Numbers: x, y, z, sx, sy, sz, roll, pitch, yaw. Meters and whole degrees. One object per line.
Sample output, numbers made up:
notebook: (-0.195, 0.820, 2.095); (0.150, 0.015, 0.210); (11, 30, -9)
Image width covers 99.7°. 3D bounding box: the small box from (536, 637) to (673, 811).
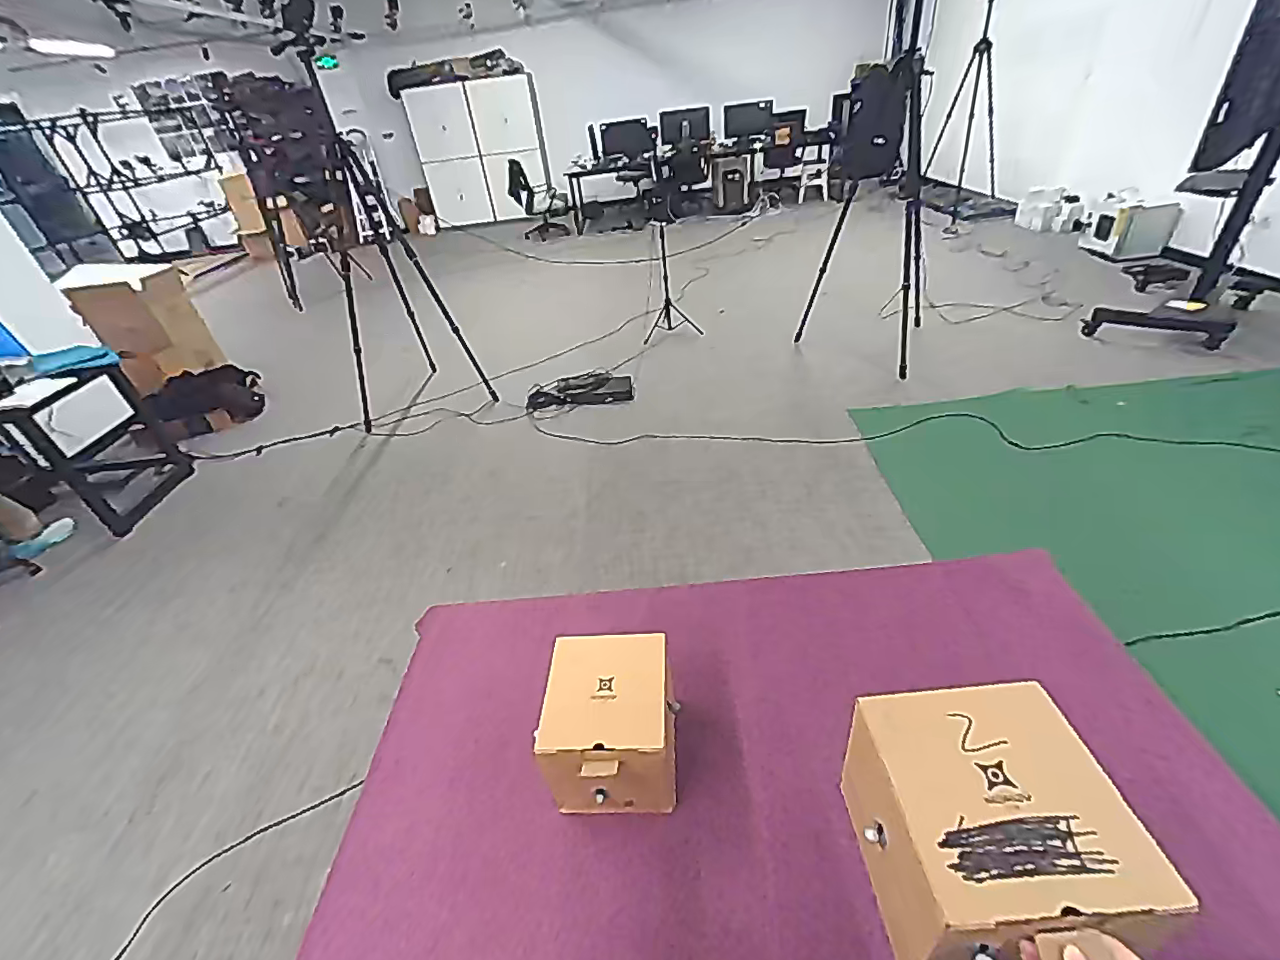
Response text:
small box: (-0.041, 0.355, 0.794); (0.168, 0.176, 0.179); (-4, 37, 6)
